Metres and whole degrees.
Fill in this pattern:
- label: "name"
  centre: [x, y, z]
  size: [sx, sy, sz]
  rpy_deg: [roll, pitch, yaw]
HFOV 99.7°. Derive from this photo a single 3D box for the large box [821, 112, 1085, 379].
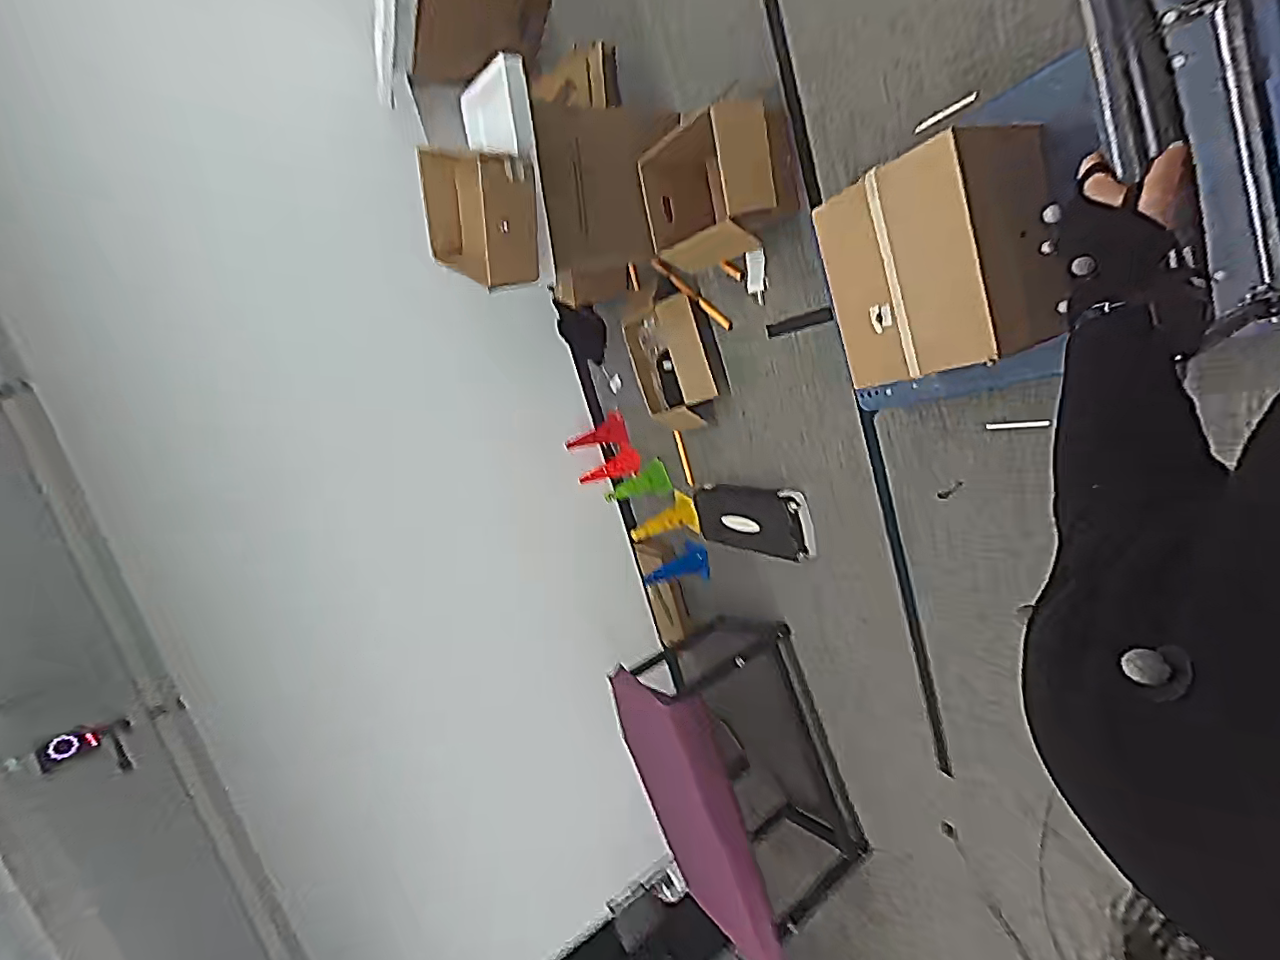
- label: "large box"
  centre: [0.646, -0.469, 1.125]
  size: [0.320, 0.320, 0.408]
  rpy_deg: [-4, 107, 62]
